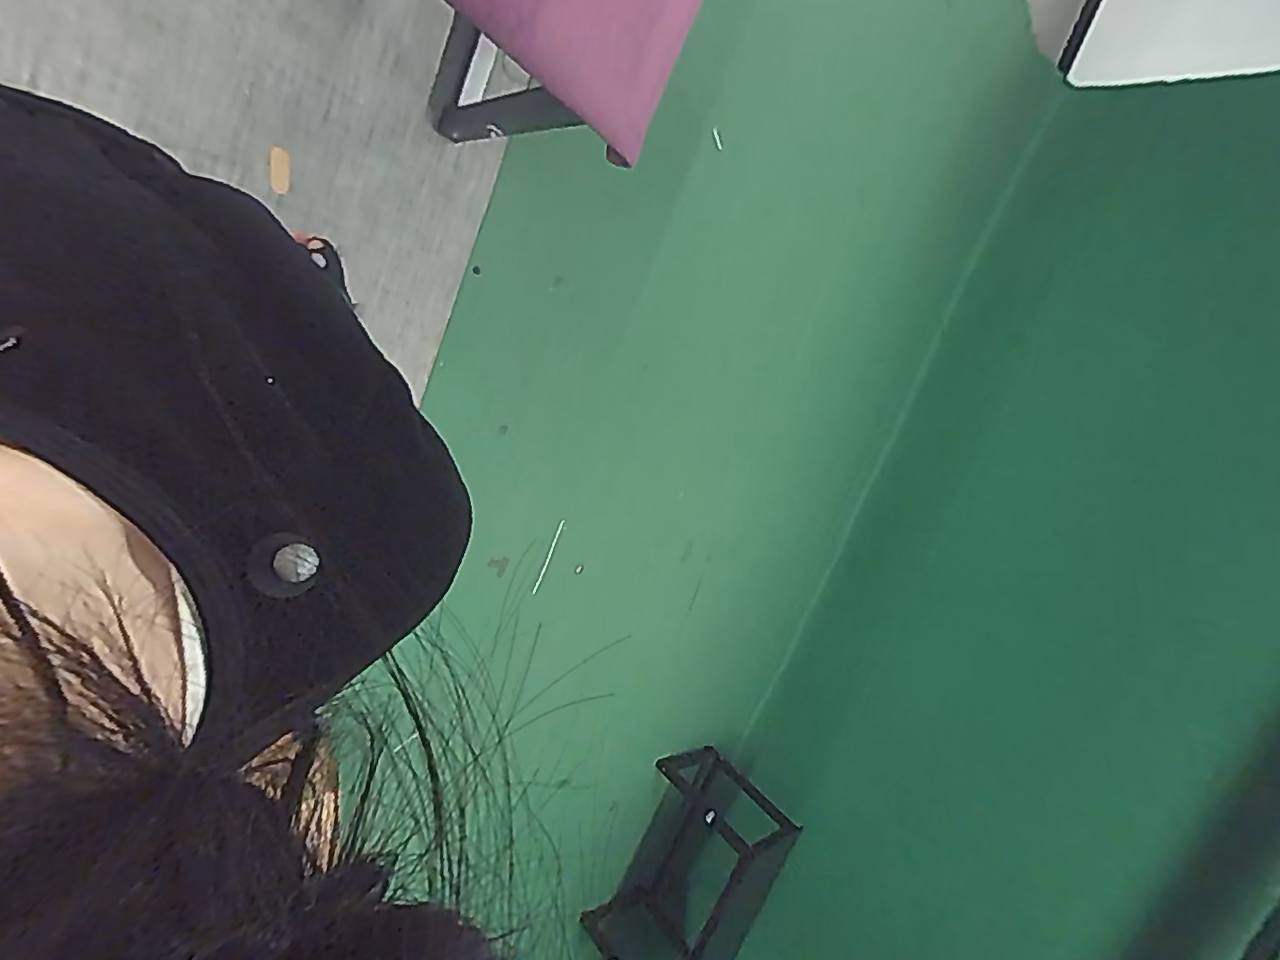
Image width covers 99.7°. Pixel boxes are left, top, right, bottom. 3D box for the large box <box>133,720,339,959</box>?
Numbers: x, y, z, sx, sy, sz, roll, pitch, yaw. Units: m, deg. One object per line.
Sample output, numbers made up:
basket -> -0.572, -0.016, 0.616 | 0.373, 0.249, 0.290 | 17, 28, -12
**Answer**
large box -> -1.092, 0.941, 1.479 | 0.408, 0.320, 0.320 | -6, 116, -43
